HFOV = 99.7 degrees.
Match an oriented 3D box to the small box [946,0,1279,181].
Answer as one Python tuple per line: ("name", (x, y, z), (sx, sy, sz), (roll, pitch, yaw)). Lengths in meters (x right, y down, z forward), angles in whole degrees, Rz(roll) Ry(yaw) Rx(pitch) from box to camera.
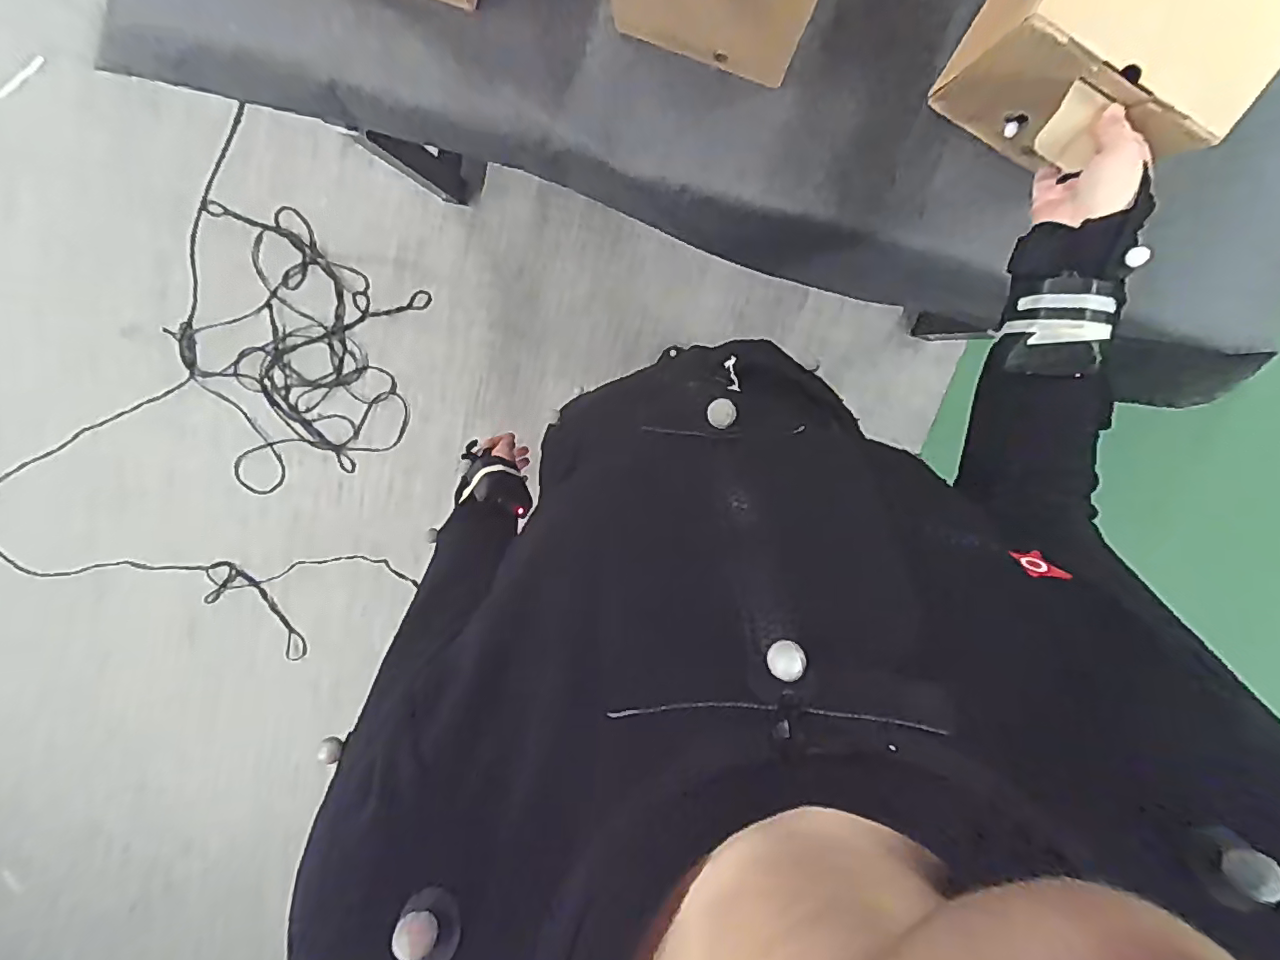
("small box", (0.382, -0.367, 0.414), (0.168, 0.176, 0.179), (28, 108, -5))
